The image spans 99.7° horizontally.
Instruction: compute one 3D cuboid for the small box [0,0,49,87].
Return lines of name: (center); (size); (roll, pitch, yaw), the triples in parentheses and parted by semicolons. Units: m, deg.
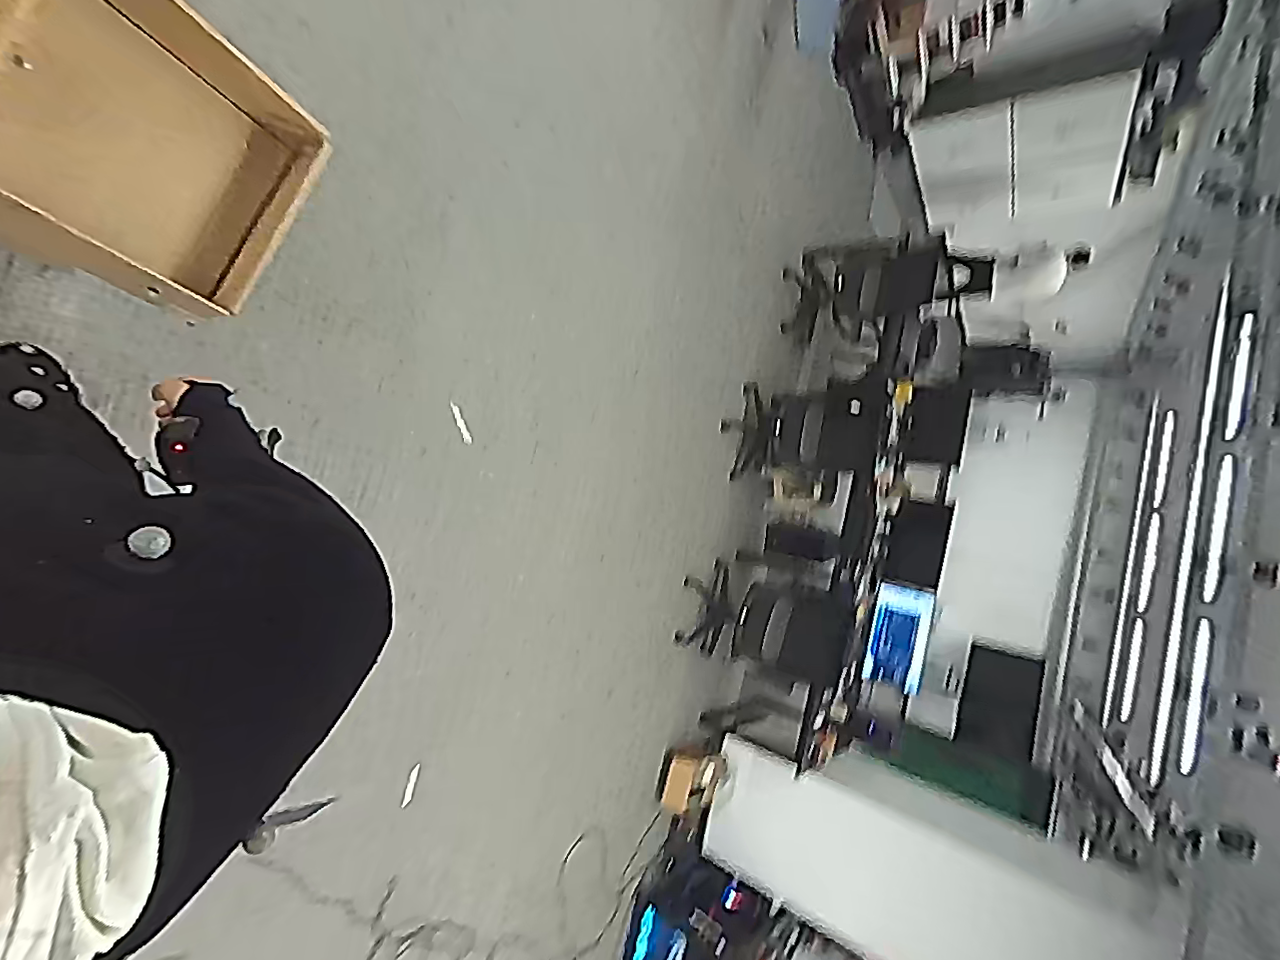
small box: (-0.891, -0.609, 0.665); (0.179, 0.176, 0.168); (31, 72, -53)
